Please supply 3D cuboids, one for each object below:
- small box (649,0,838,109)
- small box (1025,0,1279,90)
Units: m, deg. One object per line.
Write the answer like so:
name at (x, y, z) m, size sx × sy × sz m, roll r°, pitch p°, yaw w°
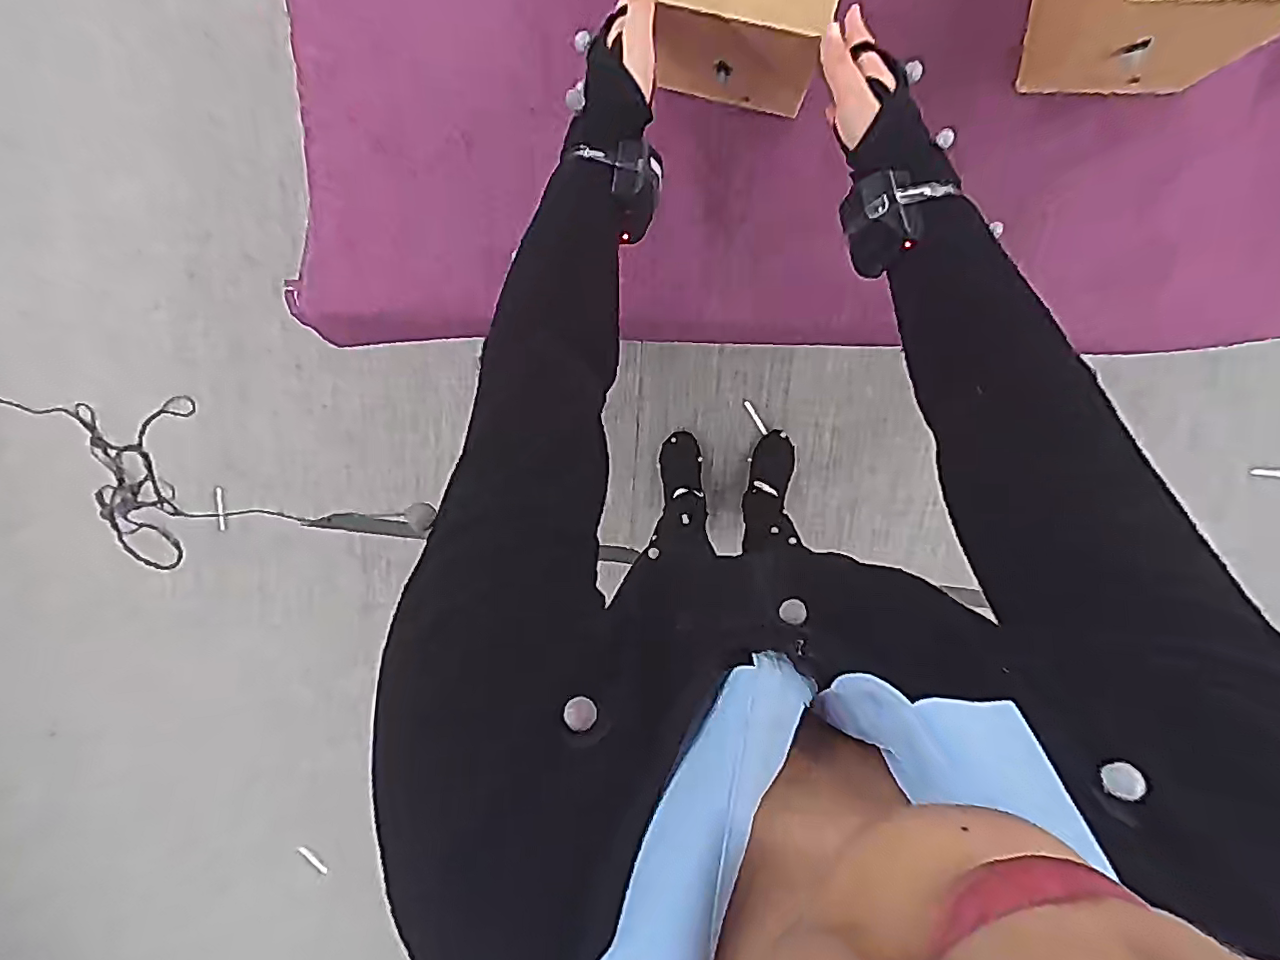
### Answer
small box at (0.115, -0.502, 0.526) m, size 0.168 × 0.176 × 0.179 m, roll 15°, pitch 104°, yaw 2°
small box at (0.491, -0.486, 0.490) m, size 0.168 × 0.176 × 0.179 m, roll 5°, pitch 103°, yaw 6°
